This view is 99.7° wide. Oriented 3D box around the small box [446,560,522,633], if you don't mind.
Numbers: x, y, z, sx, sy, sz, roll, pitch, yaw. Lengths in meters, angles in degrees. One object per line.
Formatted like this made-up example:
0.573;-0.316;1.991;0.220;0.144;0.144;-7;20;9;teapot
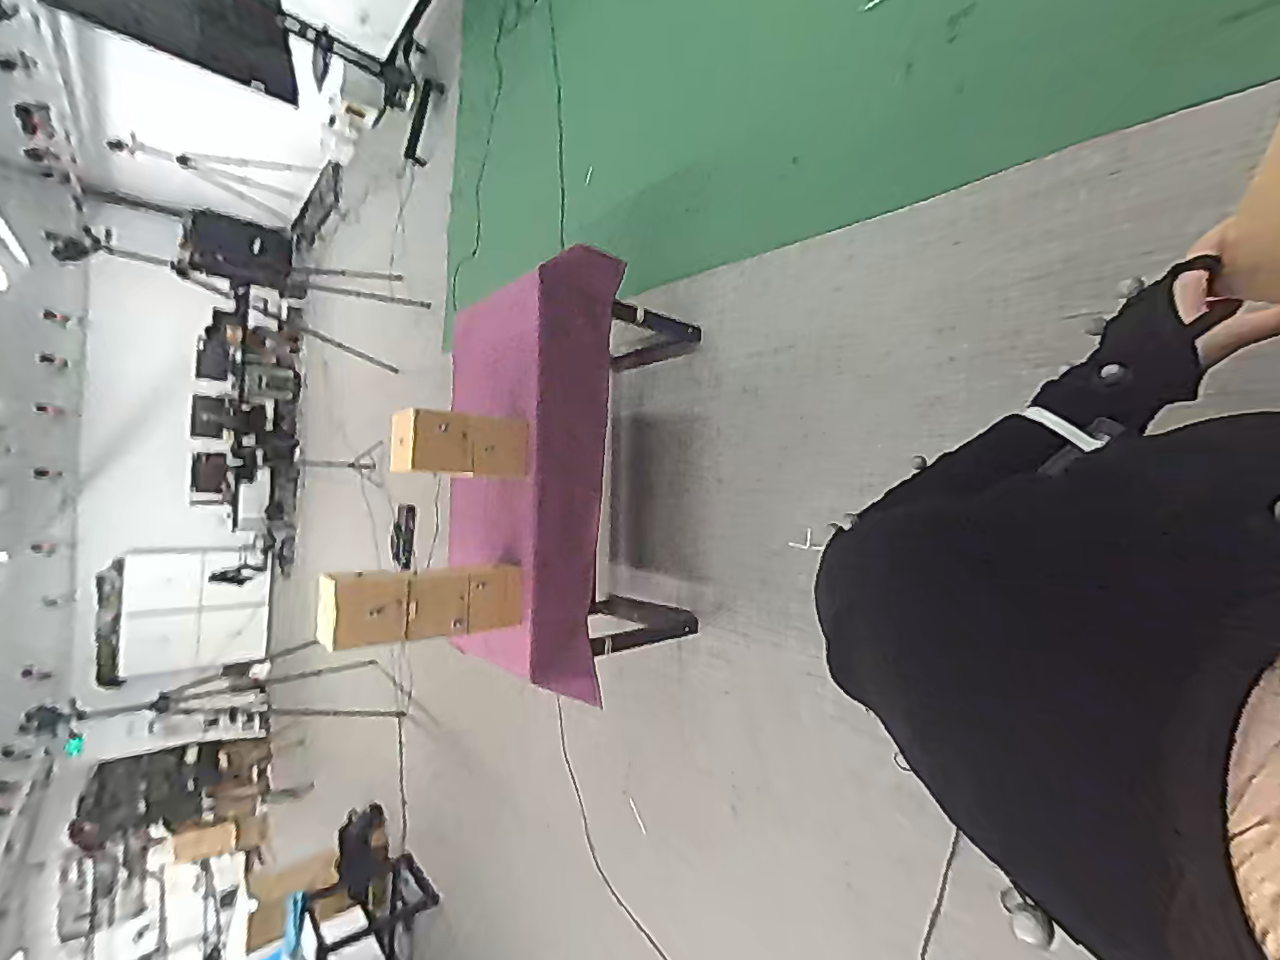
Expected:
-0.462;0.336;1.592;0.168;0.176;0.179;-1;86;48;small box

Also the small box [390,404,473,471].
-0.575;-0.111;1.495;0.179;0.176;0.168;-1;86;49;small box

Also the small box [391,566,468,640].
-0.585;0.328;1.484;0.179;0.176;0.168;-1;86;50;small box

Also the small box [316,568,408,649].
-0.703;0.315;1.369;0.179;0.176;0.168;0;86;48;small box

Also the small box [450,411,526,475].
-0.449;-0.105;1.599;0.168;0.176;0.179;2;89;47;small box
